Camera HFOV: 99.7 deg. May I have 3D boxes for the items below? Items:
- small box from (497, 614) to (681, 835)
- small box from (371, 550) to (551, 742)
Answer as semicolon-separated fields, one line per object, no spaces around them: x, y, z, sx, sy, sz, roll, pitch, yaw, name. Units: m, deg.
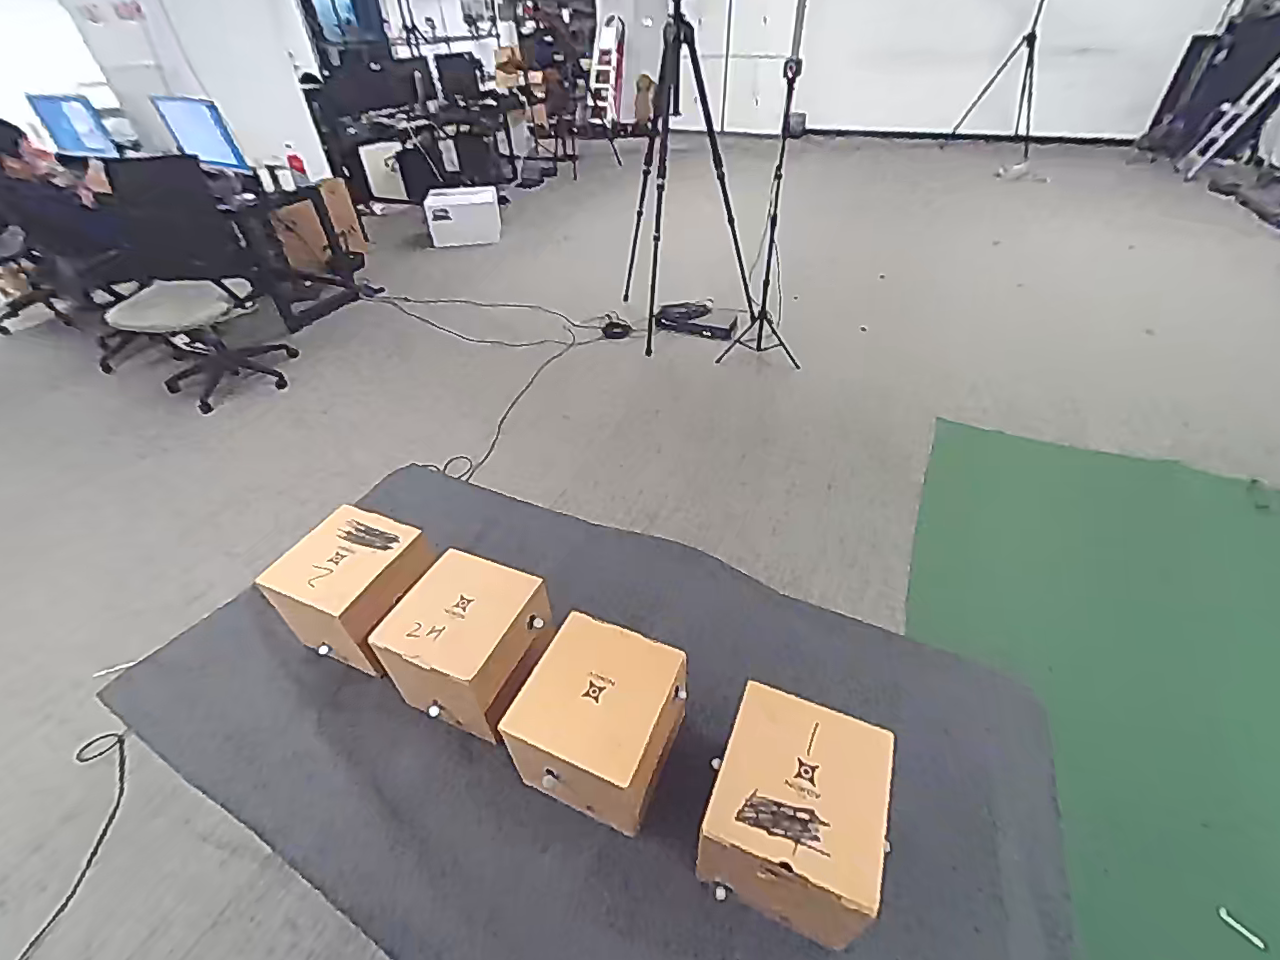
-0.052;0.312;0.694;0.168;0.176;0.179;15;43;19;small box
-0.243;0.238;0.785;0.168;0.176;0.179;15;43;19;small box
